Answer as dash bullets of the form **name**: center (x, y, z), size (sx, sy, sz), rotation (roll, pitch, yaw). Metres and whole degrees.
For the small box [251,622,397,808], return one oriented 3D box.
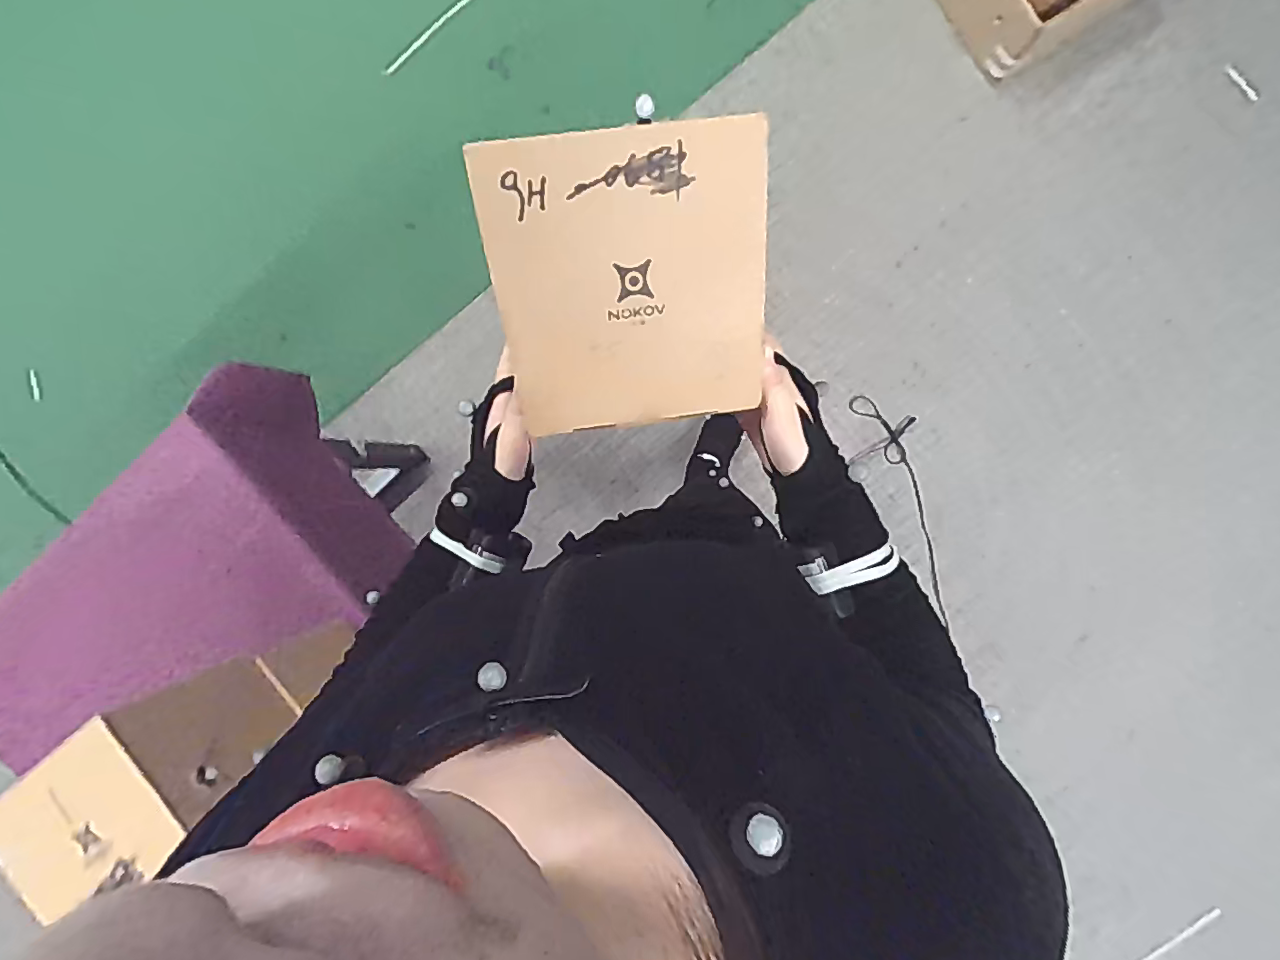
- **small box**: center (-0.461, 0.320, 0.727), size (0.179, 0.176, 0.168), rotation (-39, 89, 4)

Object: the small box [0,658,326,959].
- **small box**: center (-0.479, 0.321, 0.563), size (0.168, 0.176, 0.179), rotation (-39, 88, 4)

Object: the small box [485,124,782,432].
- **small box**: center (-0.006, -0.157, 0.404), size (0.168, 0.176, 0.179), rotation (-7, 123, -4)
